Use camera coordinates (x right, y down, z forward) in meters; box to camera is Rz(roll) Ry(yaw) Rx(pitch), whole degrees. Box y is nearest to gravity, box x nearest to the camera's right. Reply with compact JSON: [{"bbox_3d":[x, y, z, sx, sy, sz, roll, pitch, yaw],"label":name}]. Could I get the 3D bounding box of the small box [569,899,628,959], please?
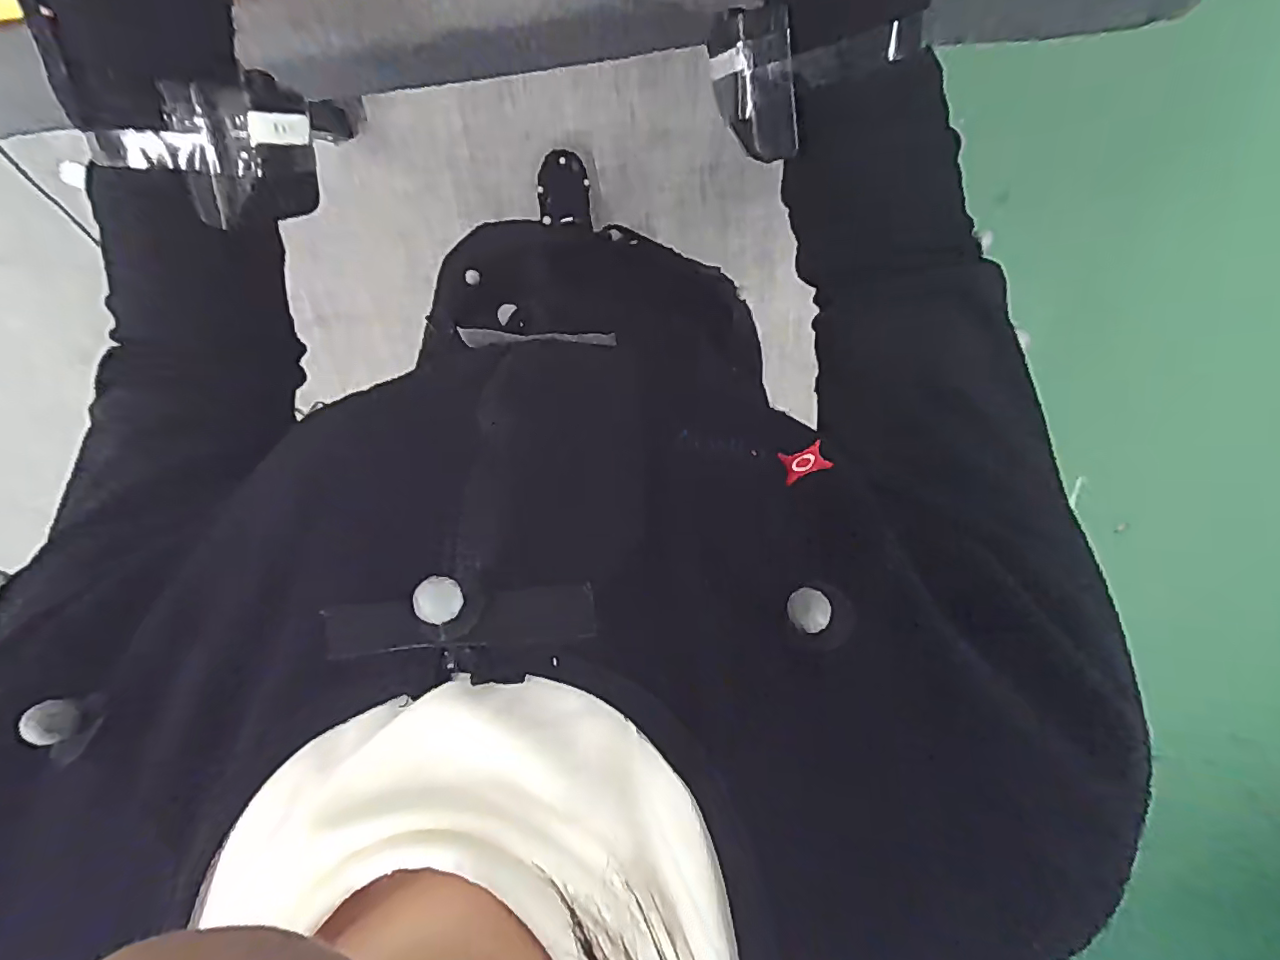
[{"bbox_3d":[-0.133,1.539,1.802,0.168,0.176,0.179,-11,118,3],"label":"small box"}]
